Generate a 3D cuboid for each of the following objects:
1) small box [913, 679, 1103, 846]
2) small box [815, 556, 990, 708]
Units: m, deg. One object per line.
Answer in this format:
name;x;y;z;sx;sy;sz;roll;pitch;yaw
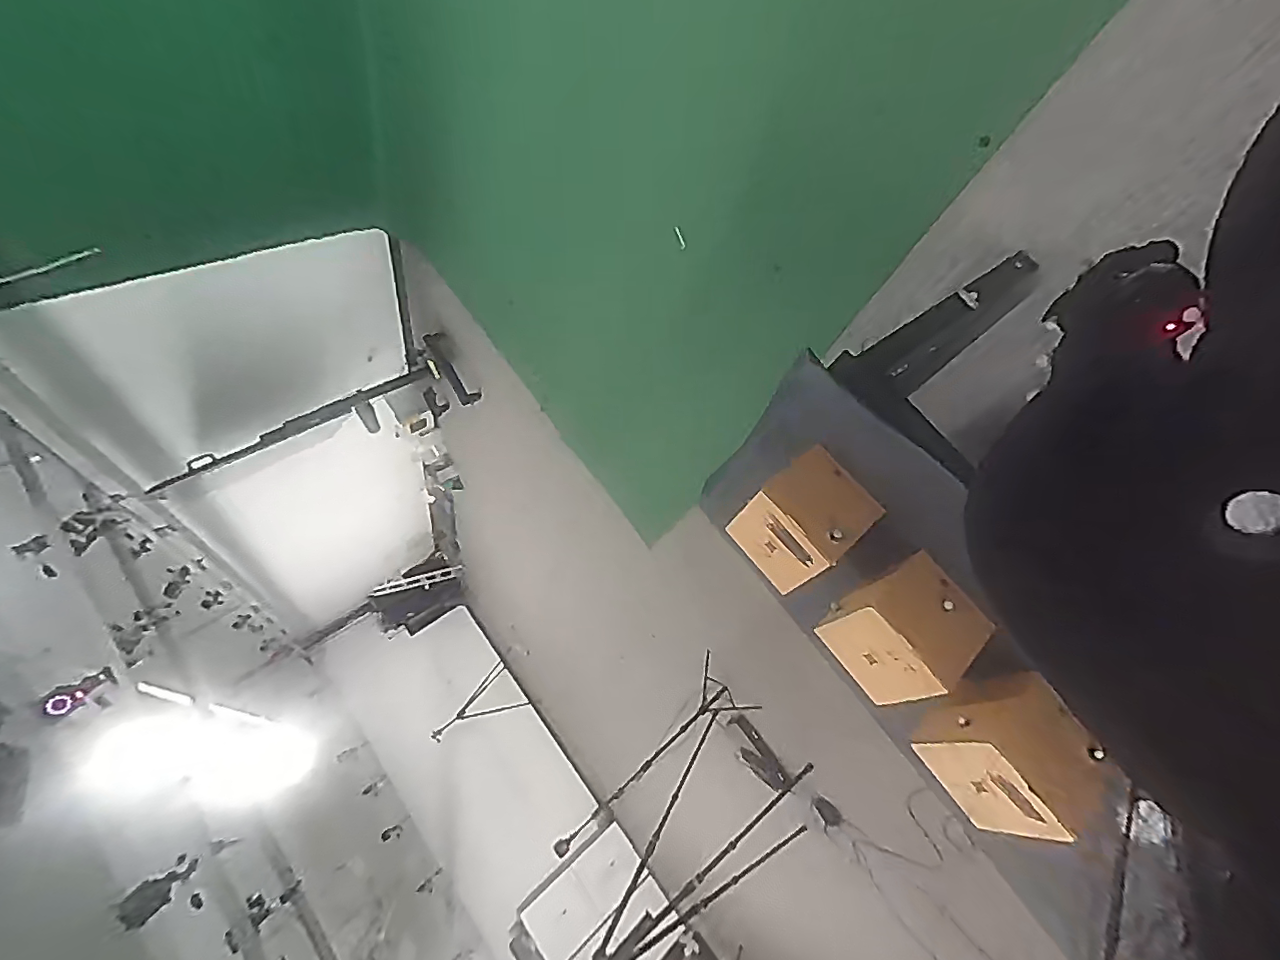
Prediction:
small box;0.596;0.444;0.874;0.168;0.176;0.179;52;151;12
small box;0.447;0.260;0.927;0.168;0.176;0.179;50;149;13
